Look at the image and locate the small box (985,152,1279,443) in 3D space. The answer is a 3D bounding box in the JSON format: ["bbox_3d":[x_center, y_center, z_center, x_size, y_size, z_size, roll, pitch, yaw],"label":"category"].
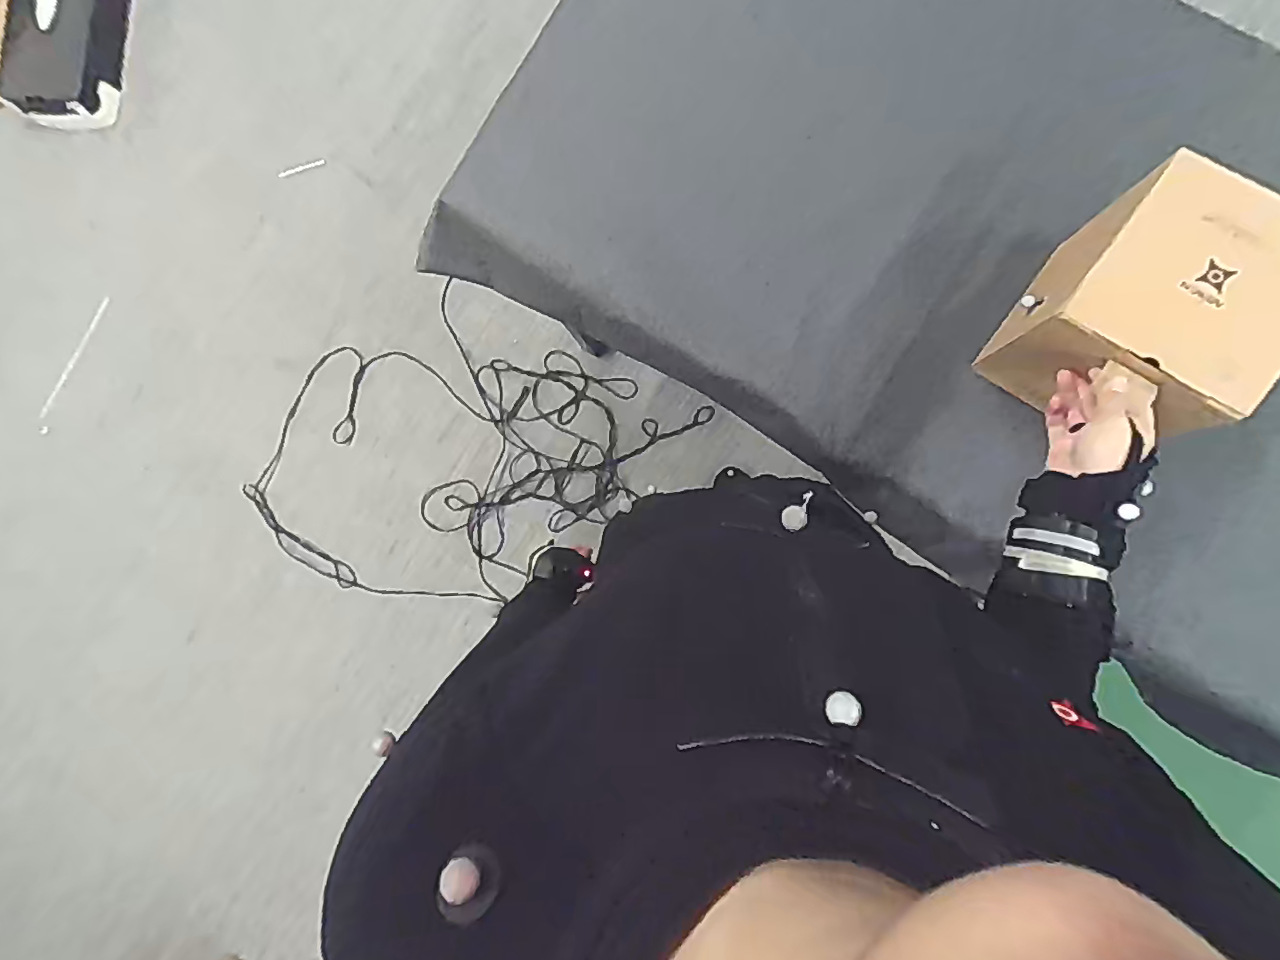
[{"bbox_3d":[0.479,-0.155,0.523,0.168,0.176,0.179,36,90,8],"label":"small box"}]
